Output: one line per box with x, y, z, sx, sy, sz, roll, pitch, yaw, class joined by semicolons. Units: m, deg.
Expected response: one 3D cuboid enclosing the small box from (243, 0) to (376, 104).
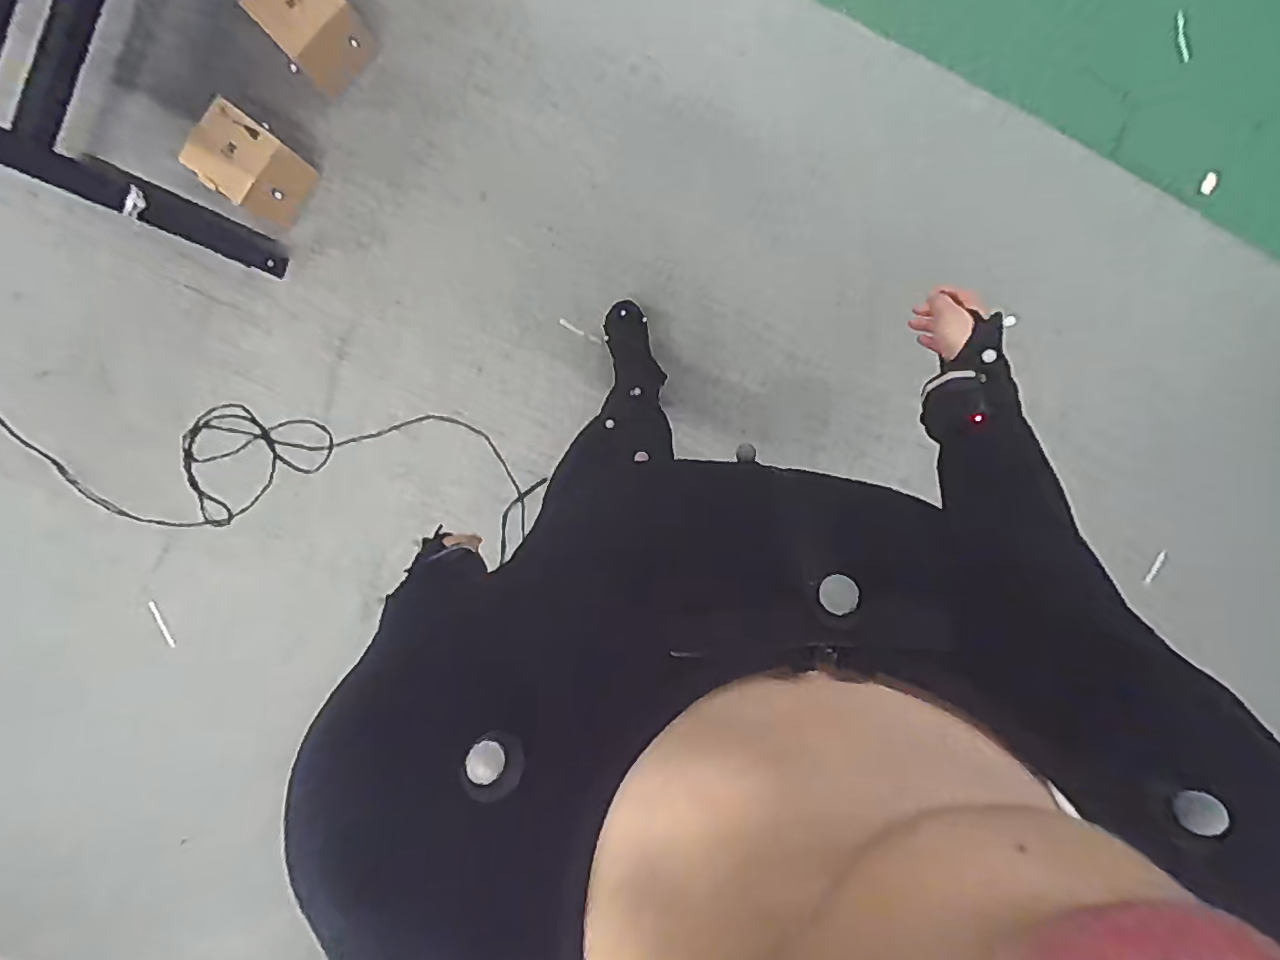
-0.751;-1.040;1.259;0.179;0.176;0.168;-44;95;5;small box

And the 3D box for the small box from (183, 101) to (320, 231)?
-0.911;-0.734;1.289;0.168;0.176;0.179;37;95;-5;small box
